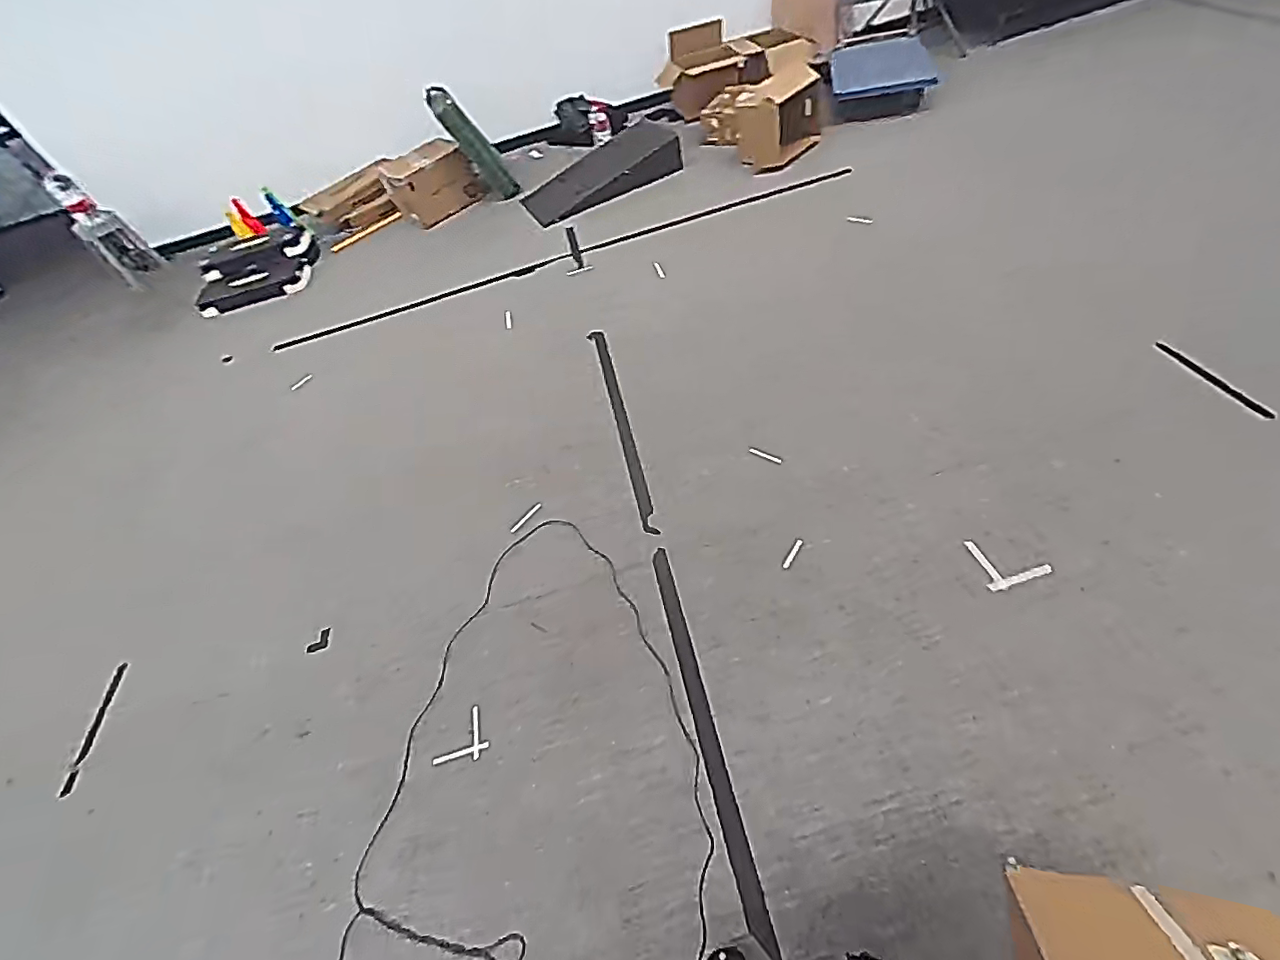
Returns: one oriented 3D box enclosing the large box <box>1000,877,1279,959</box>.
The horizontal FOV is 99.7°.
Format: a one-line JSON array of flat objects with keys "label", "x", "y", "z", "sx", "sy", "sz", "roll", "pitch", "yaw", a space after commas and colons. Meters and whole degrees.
[{"label": "large box", "x": 0.617, "y": 0.708, "z": 0.552, "sx": 0.320, "sy": 0.408, "sz": 0.320, "roll": -3, "pitch": 82, "yaw": 20}]
